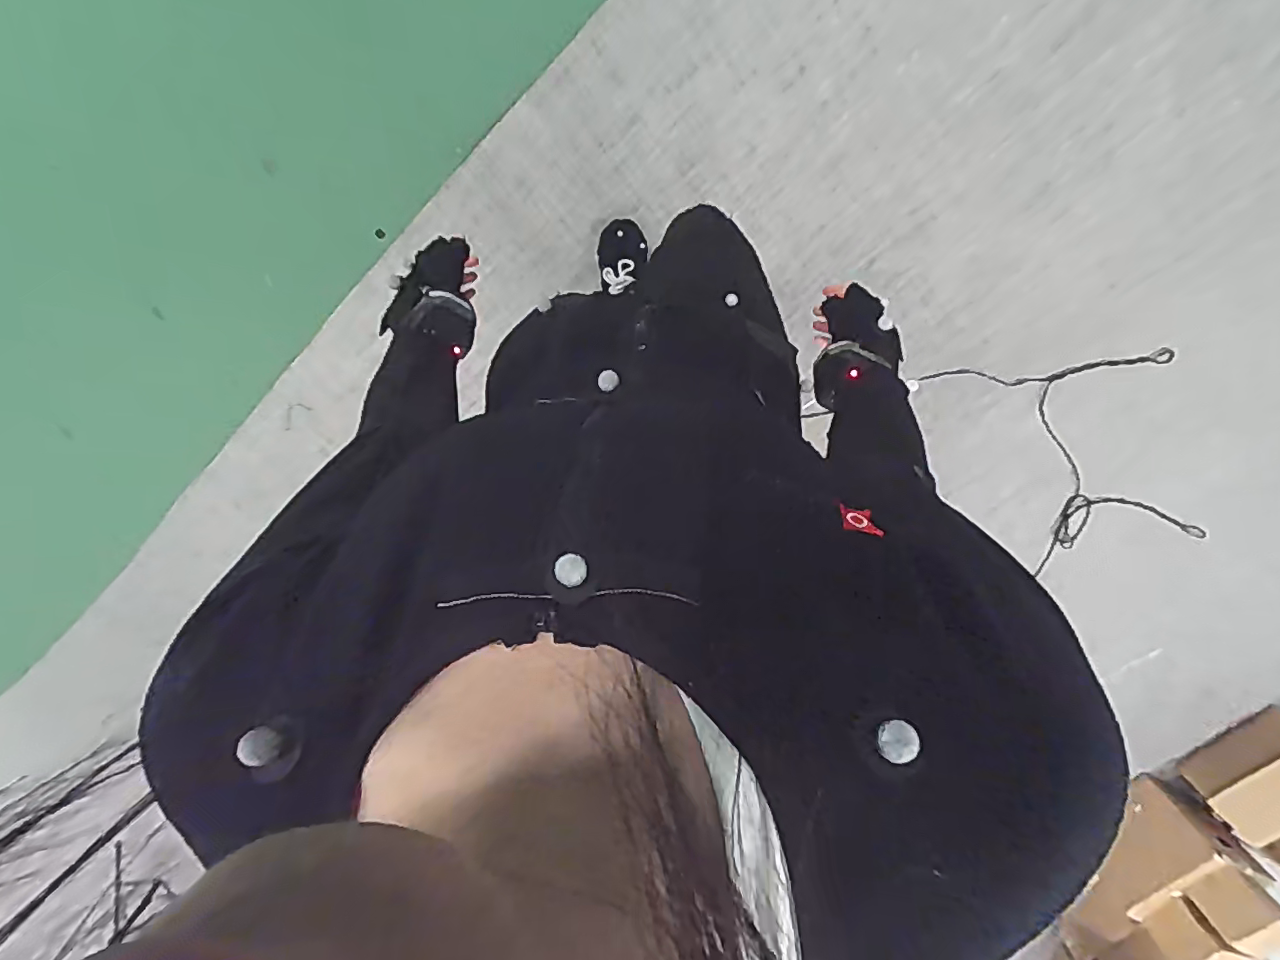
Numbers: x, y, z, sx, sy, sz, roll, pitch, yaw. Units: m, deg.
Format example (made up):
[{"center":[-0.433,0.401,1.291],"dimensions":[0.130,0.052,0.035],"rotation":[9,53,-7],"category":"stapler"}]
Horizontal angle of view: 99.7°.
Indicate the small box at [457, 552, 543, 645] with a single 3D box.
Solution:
[{"center":[-0.415,0.356,1.639],"dimensions":[0.168,0.176,0.179],"rotation":[41,108,-17],"category":"small box"}]
